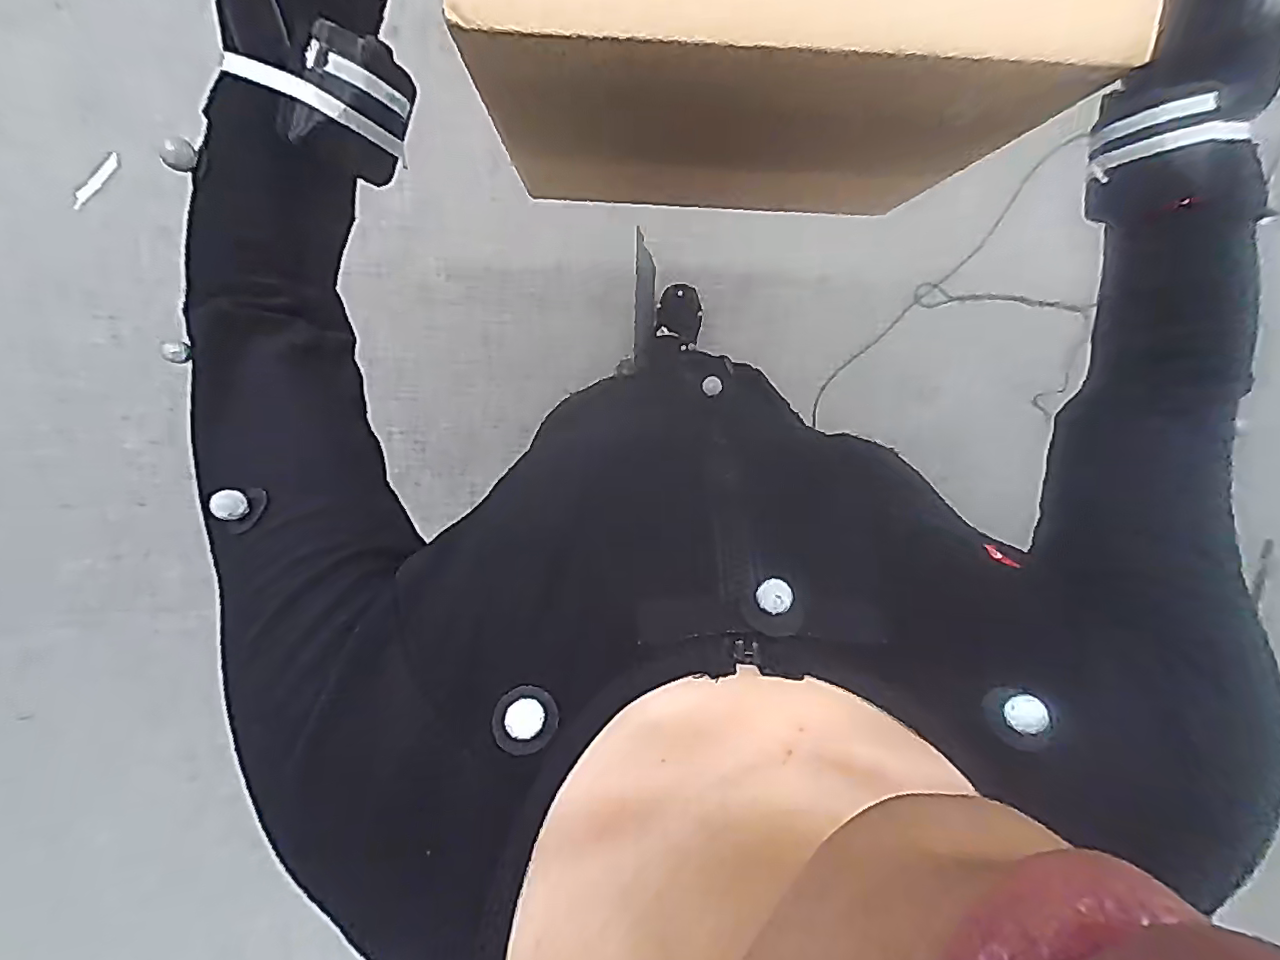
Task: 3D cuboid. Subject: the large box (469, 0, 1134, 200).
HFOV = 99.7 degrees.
[{"bbox_3d":[0.089,-0.438,0.434,0.408,0.320,0.320,0,102,-4],"label":"large box"}]
